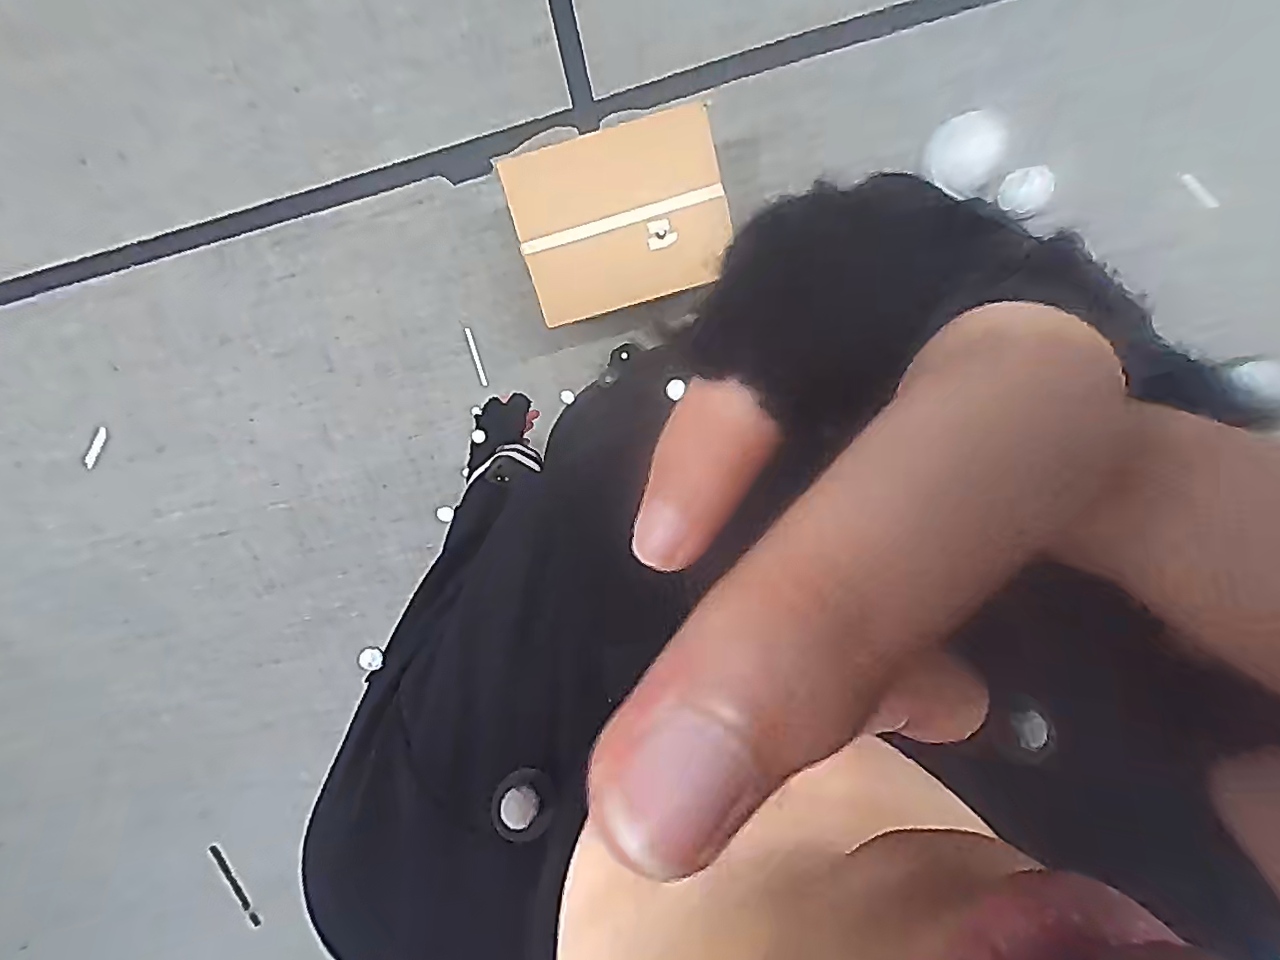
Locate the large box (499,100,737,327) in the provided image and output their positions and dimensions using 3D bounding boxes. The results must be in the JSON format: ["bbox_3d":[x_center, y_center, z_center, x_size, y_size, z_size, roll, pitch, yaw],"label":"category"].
[{"bbox_3d":[-0.041,-0.545,1.185,0.408,0.320,0.320,-16,107,3],"label":"large box"}]
